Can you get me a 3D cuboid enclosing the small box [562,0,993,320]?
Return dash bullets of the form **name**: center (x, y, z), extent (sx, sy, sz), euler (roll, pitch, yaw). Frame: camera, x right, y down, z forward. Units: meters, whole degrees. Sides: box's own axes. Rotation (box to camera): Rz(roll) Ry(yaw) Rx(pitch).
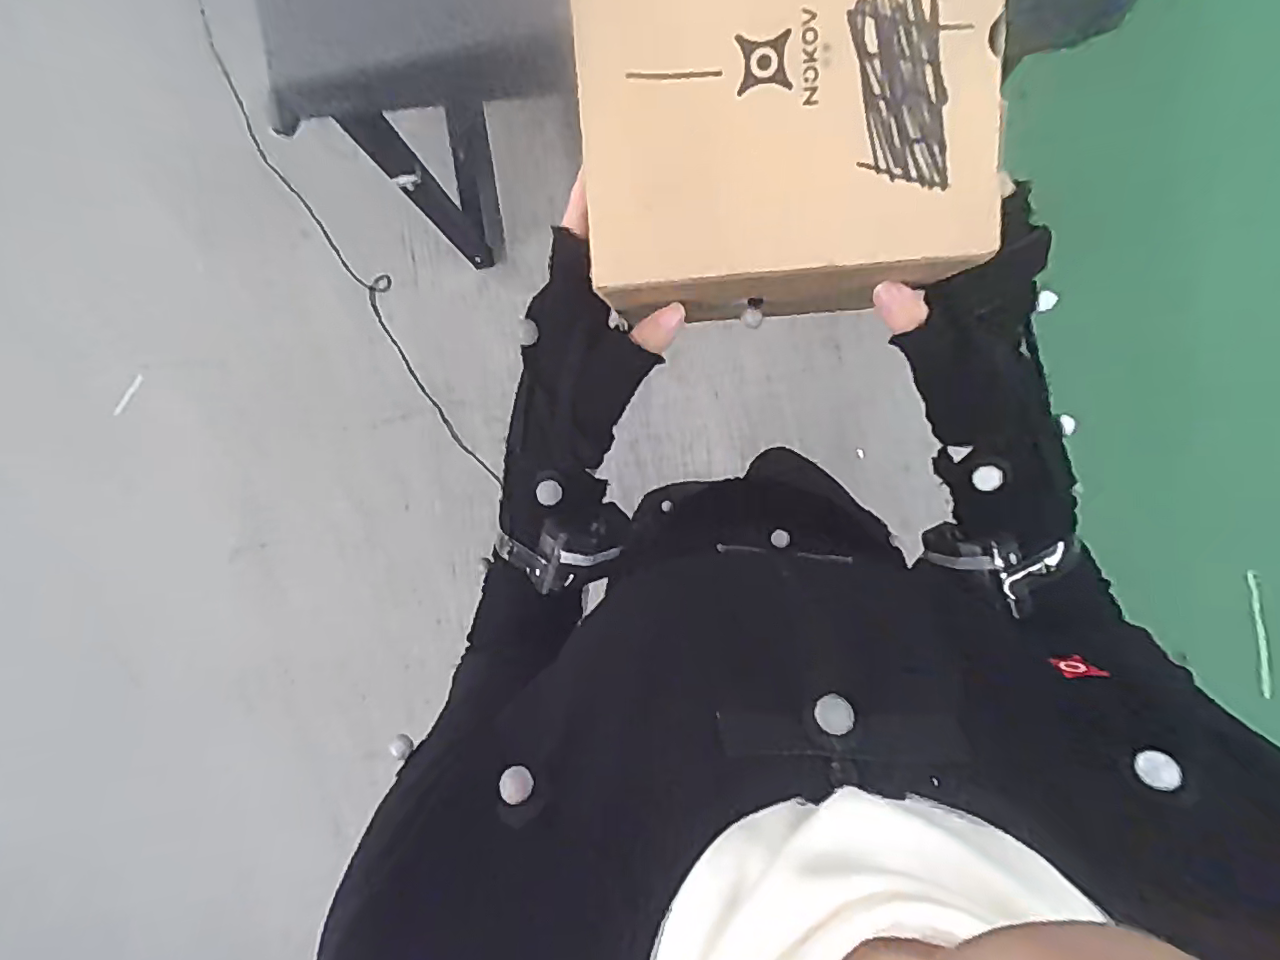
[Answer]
- **small box**: center (0.062, -0.187, 0.302), extent (0.179, 0.176, 0.168), euler (-2, 99, 6)
